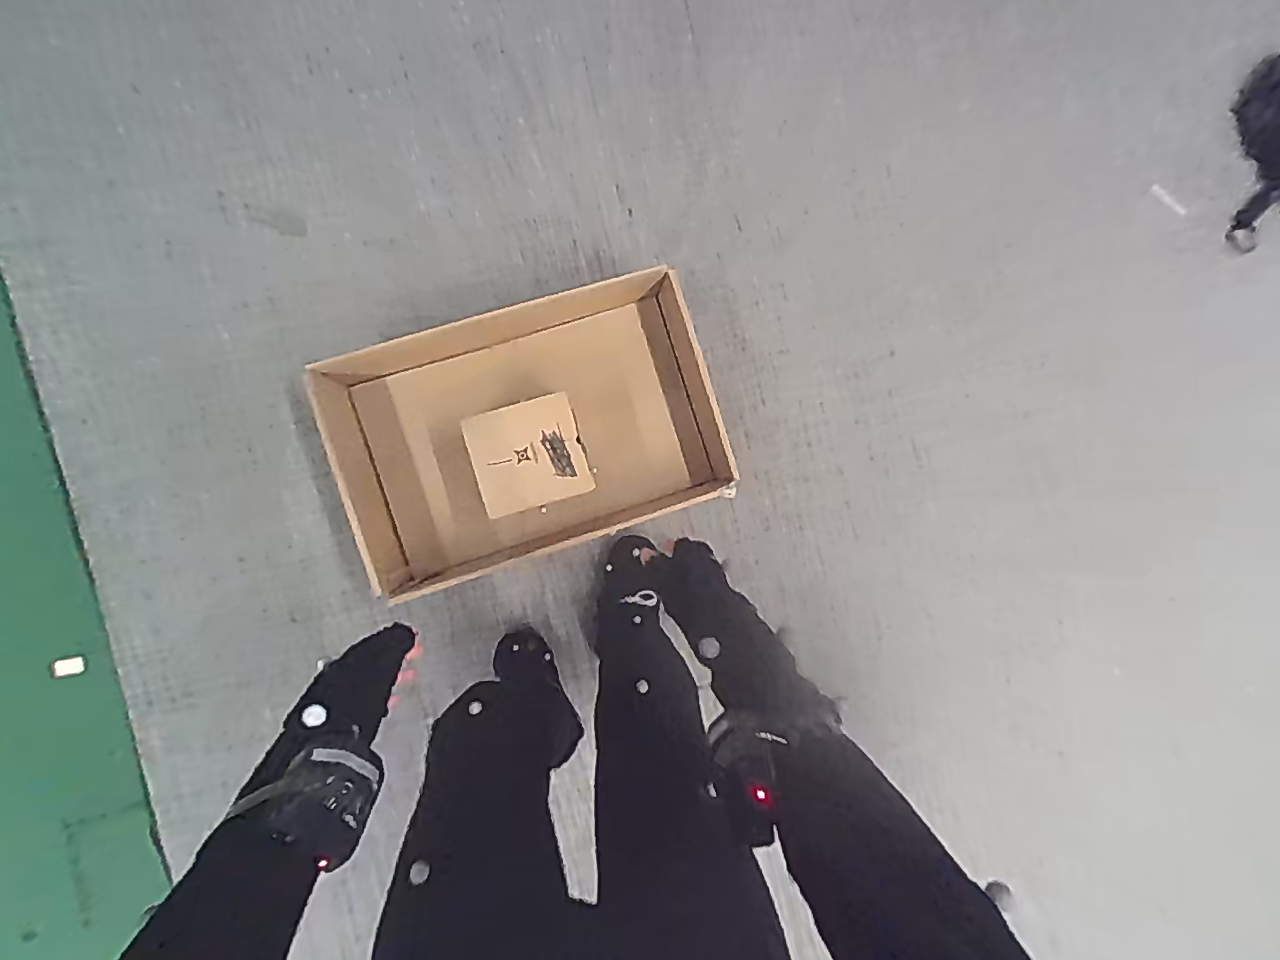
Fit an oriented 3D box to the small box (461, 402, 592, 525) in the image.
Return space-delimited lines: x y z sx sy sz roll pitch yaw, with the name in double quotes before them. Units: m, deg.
"small box" -0.189 -0.028 0.943 0.179 0.176 0.168 -16 90 -5
